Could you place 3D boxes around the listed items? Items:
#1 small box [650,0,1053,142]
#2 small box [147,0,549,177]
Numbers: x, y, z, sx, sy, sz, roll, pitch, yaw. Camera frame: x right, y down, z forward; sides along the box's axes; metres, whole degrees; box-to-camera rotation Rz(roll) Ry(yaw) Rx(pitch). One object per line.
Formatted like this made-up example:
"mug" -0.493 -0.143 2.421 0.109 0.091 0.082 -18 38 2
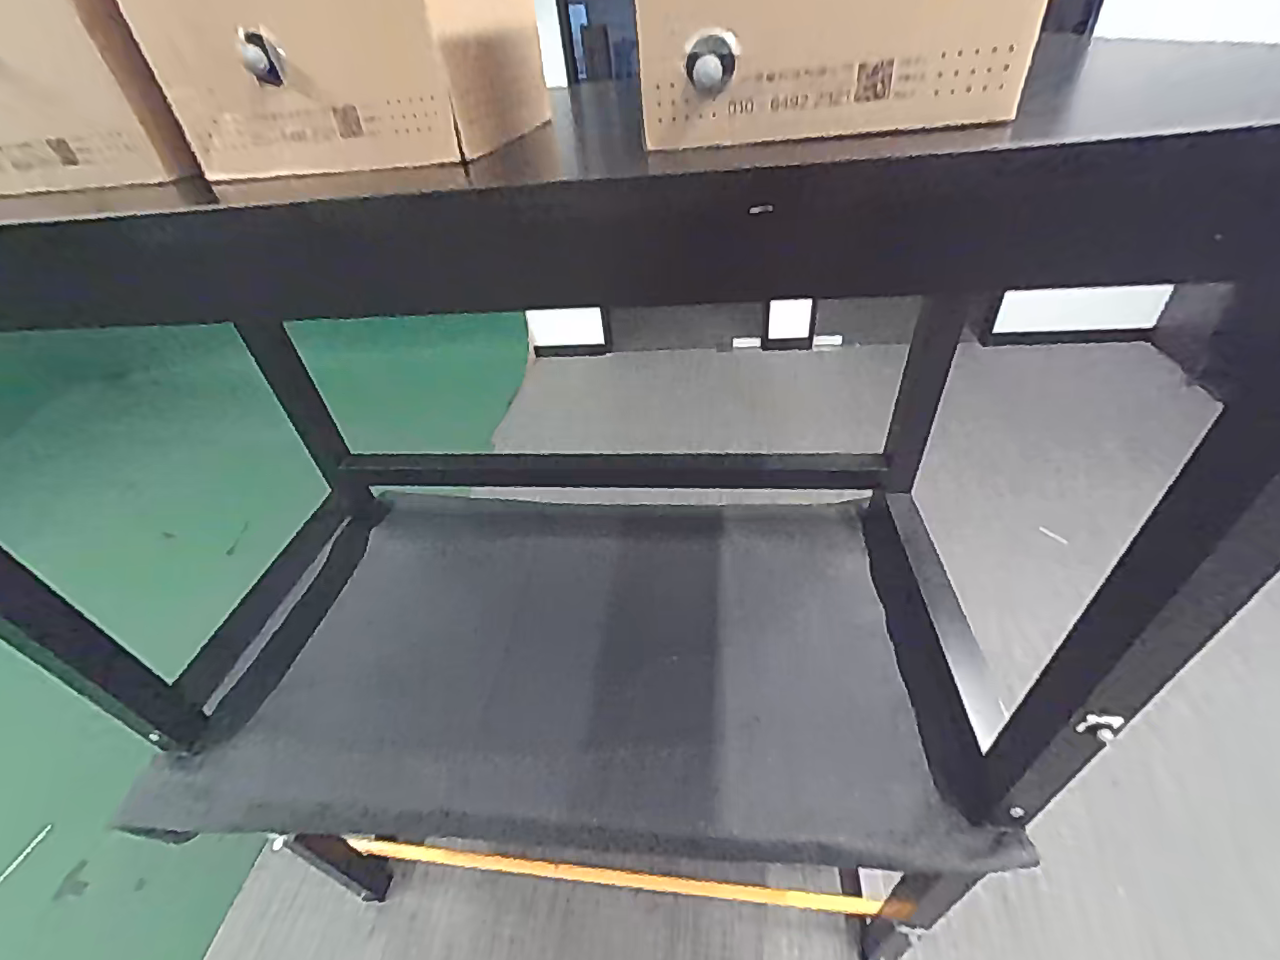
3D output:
"small box" 0.094 -0.271 0.260 0.168 0.176 0.179 2 39 10
"small box" -0.160 -0.287 0.315 0.168 0.176 0.179 1 40 9
